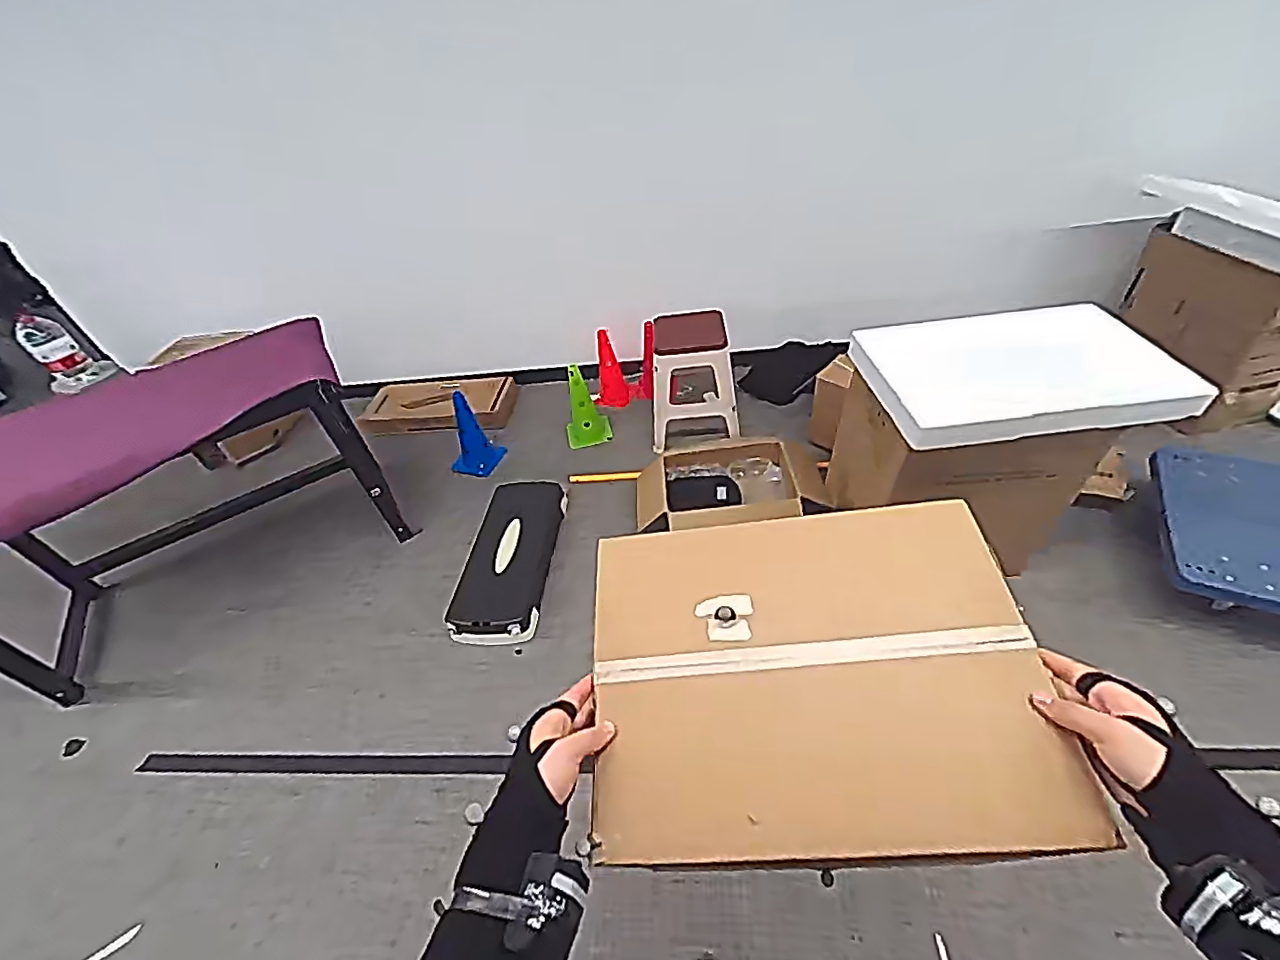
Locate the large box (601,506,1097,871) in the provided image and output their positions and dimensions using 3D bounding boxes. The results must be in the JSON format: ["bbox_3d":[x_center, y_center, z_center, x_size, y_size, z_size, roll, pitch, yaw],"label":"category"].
[{"bbox_3d":[0.185,0.266,0.646,0.408,0.320,0.320,-8,51,7],"label":"large box"}]
